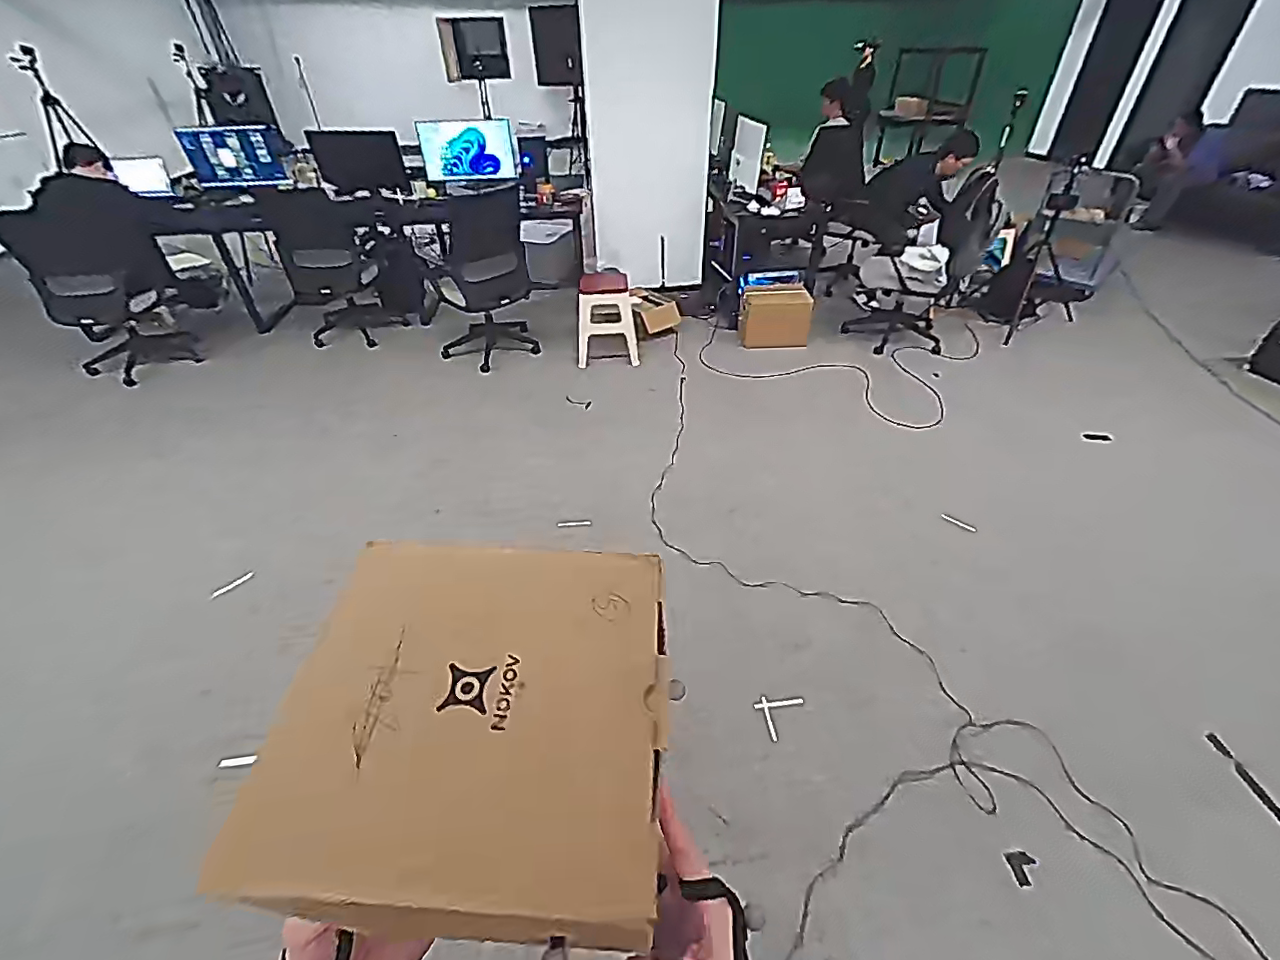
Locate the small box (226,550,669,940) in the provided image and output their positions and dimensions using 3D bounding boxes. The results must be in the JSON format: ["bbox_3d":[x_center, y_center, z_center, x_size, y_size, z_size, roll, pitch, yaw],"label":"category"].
[{"bbox_3d":[-0.075,0.160,0.323,0.179,0.176,0.168,2,46,1],"label":"small box"}]
